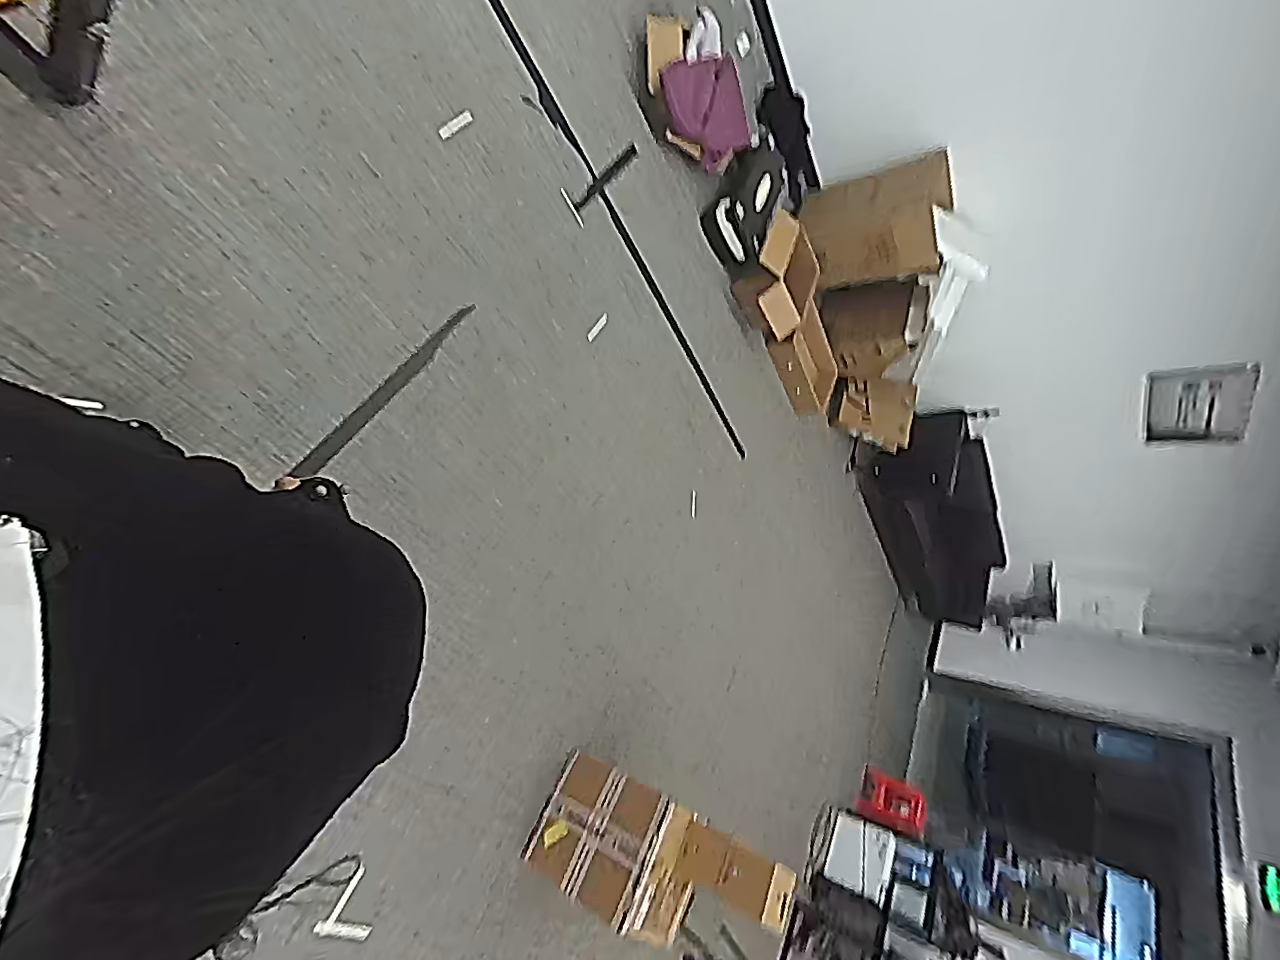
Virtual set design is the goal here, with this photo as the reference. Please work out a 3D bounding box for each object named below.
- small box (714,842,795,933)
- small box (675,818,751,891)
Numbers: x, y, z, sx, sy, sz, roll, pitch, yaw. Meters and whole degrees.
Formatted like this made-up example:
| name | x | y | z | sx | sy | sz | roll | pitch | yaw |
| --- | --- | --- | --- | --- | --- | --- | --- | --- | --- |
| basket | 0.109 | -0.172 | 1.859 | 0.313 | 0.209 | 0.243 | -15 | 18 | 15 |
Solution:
| name | x | y | z | sx | sy | sz | roll | pitch | yaw |
| --- | --- | --- | --- | --- | --- | --- | --- | --- | --- |
| small box | 0.366 | 1.294 | 1.727 | 0.179 | 0.176 | 0.168 | 52 | 53 | -34 |
| small box | 0.250 | 1.287 | 1.844 | 0.179 | 0.176 | 0.168 | 48 | 55 | -36 |
